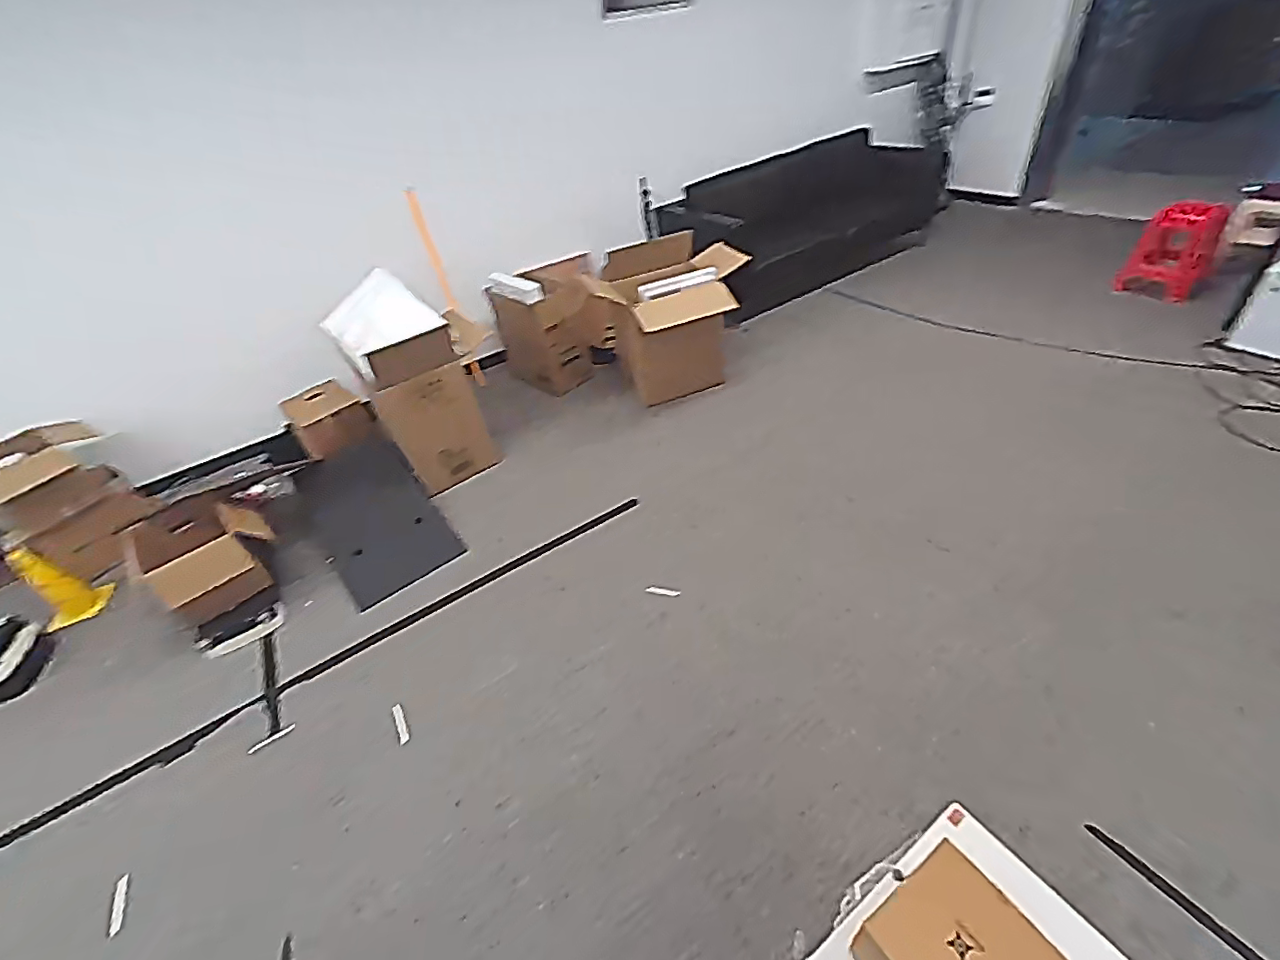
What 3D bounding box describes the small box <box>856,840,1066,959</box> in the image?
[{"bbox_3d":[0.411,0.639,0.721,0.179,0.176,0.168,-27,42,-21],"label":"small box"}]
